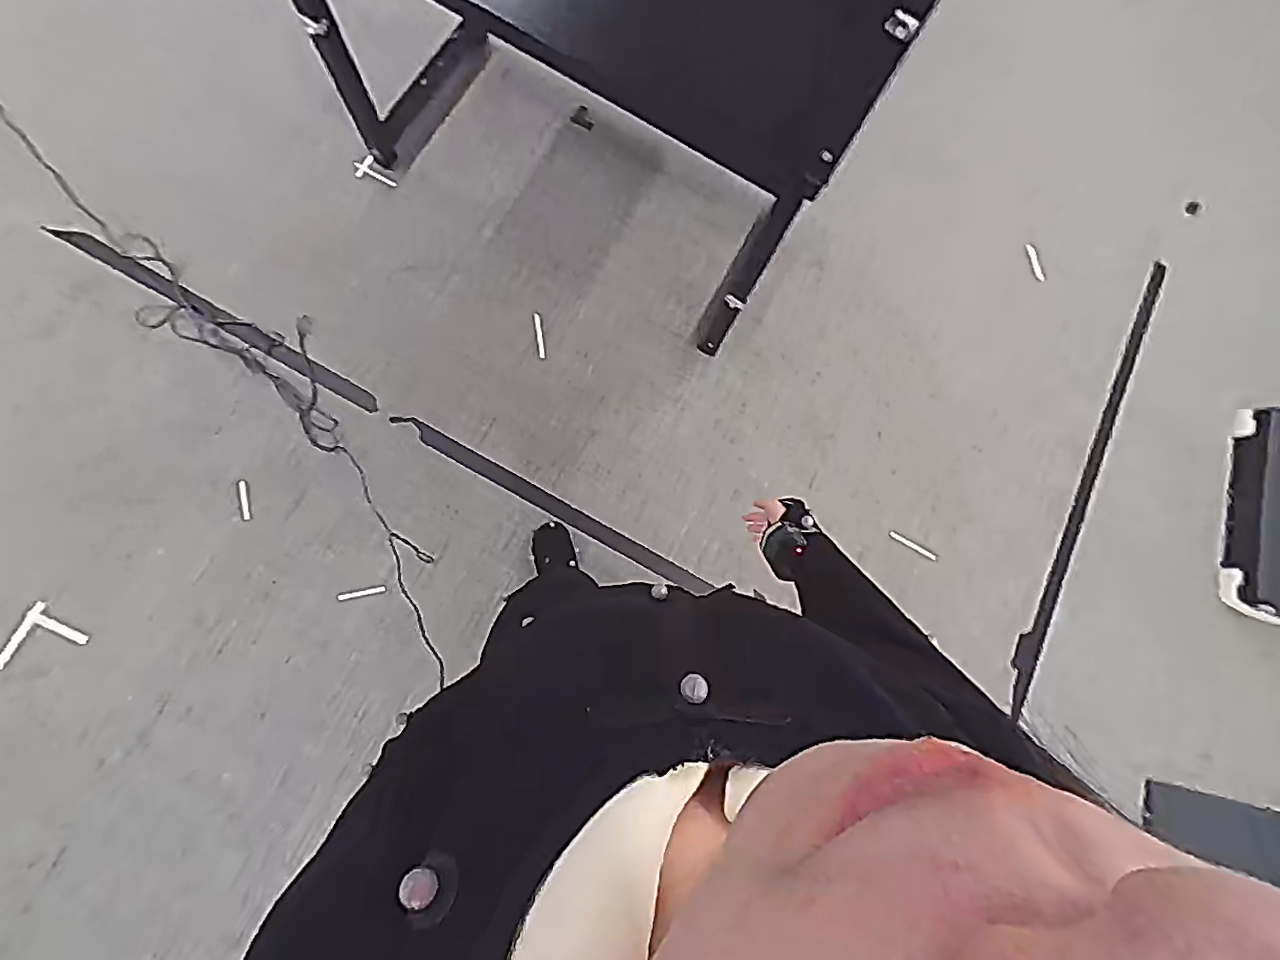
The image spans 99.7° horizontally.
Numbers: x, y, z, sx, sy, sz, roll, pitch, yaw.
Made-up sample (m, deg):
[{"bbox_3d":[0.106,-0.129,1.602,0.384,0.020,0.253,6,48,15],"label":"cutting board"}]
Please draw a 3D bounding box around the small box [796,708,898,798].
[{"bbox_3d":[0.527,0.726,1.397,0.168,0.176,0.179,31,80,-1],"label":"small box"}]
